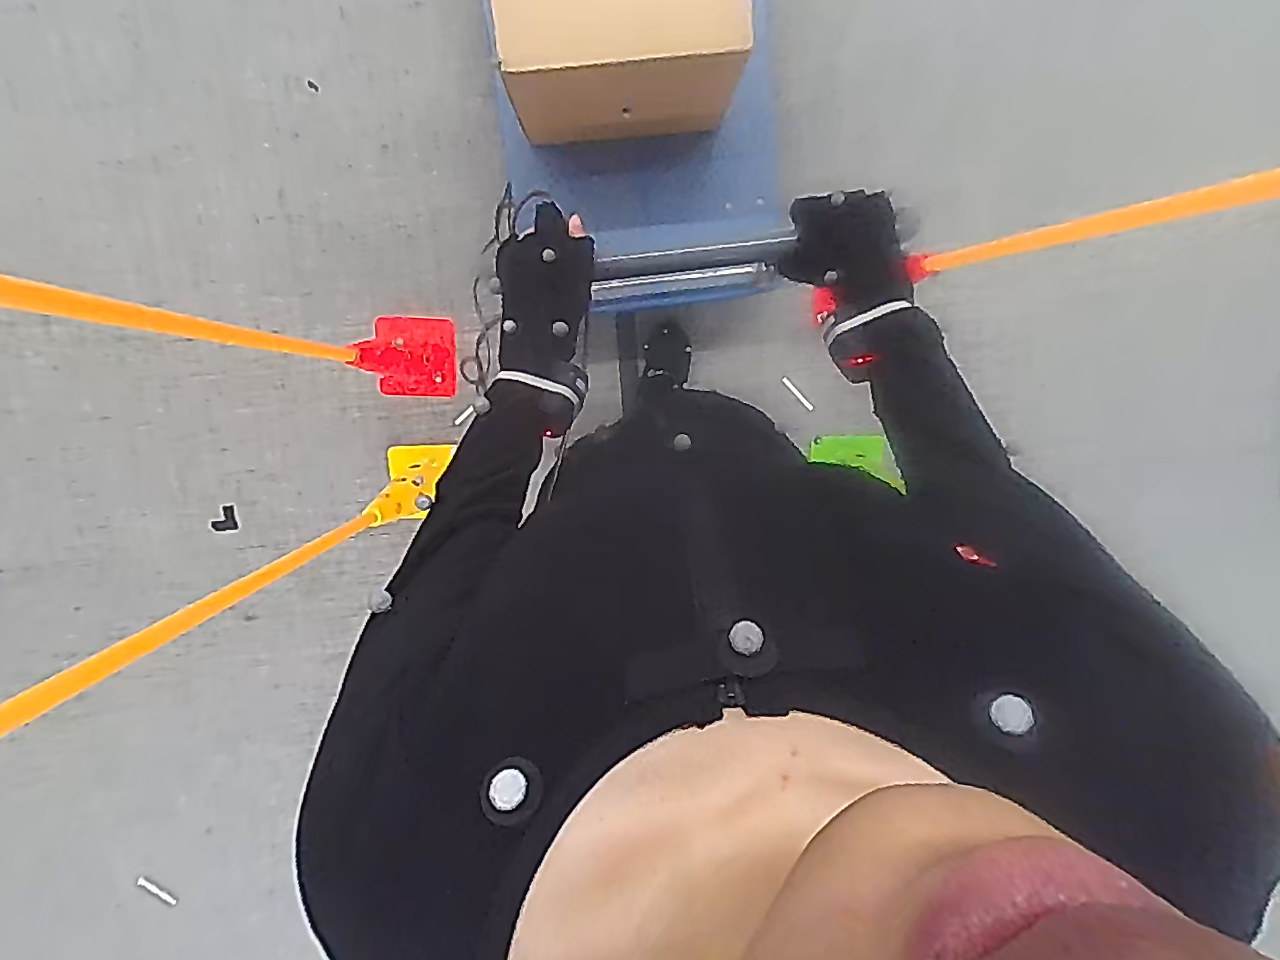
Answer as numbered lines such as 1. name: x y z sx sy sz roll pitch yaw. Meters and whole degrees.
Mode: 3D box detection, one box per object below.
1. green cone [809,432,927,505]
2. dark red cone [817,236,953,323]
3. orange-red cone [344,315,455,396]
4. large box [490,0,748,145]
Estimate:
1. green cone: 0.573 0.003 1.315 0.202 0.368 0.200 -2 102 -3
2. dark red cone: 0.554 -0.468 1.197 0.201 0.394 0.202 -5 102 -3
3. orange-red cone: -0.565 -0.286 1.217 0.198 0.360 0.199 2 100 -3
4. large box: -0.042 -0.839 0.970 0.408 0.320 0.320 -6 103 0
